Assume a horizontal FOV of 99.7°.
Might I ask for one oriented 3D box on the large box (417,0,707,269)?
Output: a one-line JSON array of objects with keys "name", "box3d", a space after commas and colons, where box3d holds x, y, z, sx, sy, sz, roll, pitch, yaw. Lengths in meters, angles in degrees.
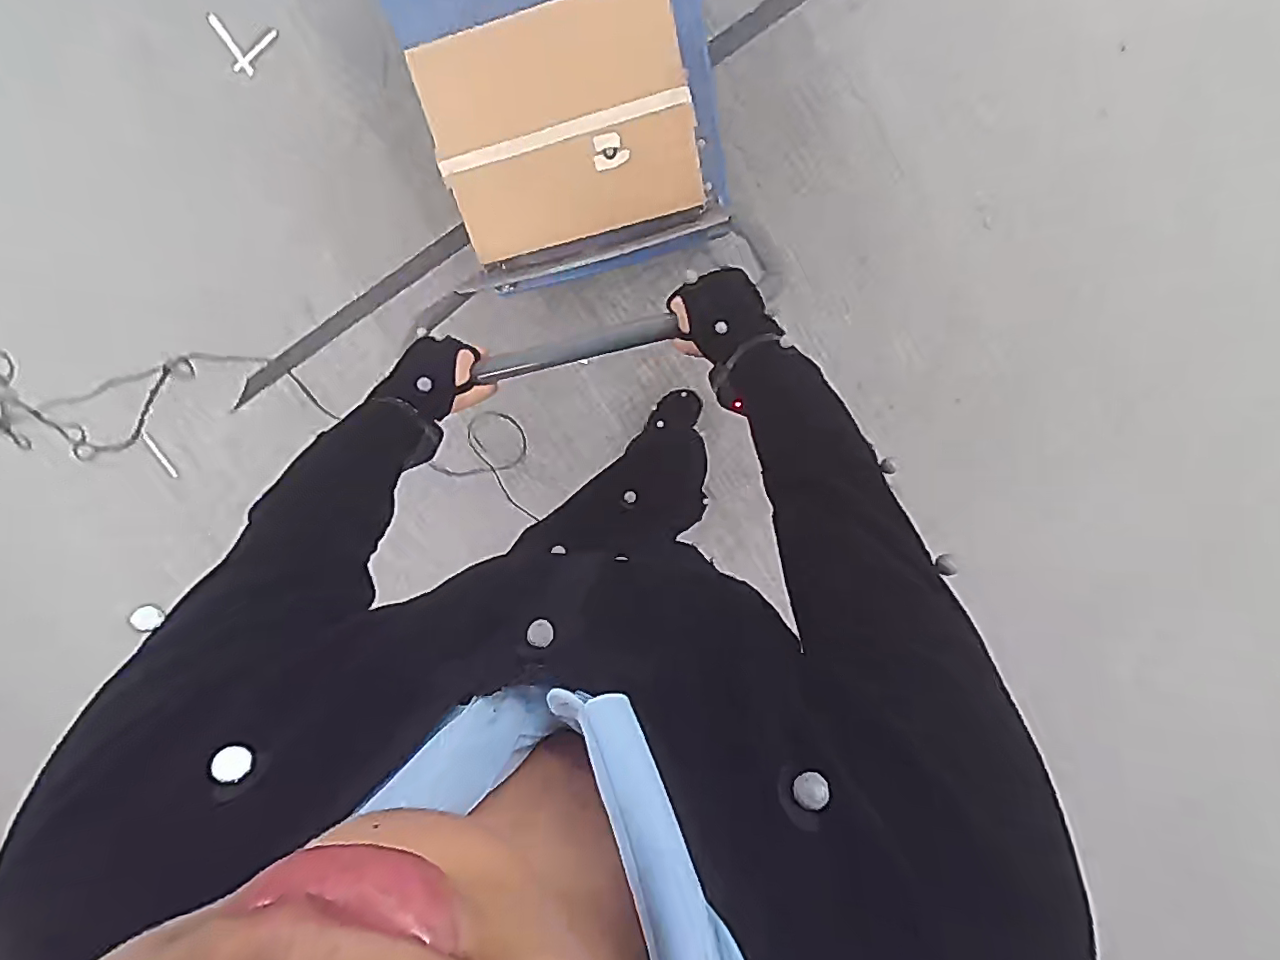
[{"name": "large box", "box3d": [-0.118, -0.618, 1.004, 0.408, 0.320, 0.320, -14, 117, 6]}]
